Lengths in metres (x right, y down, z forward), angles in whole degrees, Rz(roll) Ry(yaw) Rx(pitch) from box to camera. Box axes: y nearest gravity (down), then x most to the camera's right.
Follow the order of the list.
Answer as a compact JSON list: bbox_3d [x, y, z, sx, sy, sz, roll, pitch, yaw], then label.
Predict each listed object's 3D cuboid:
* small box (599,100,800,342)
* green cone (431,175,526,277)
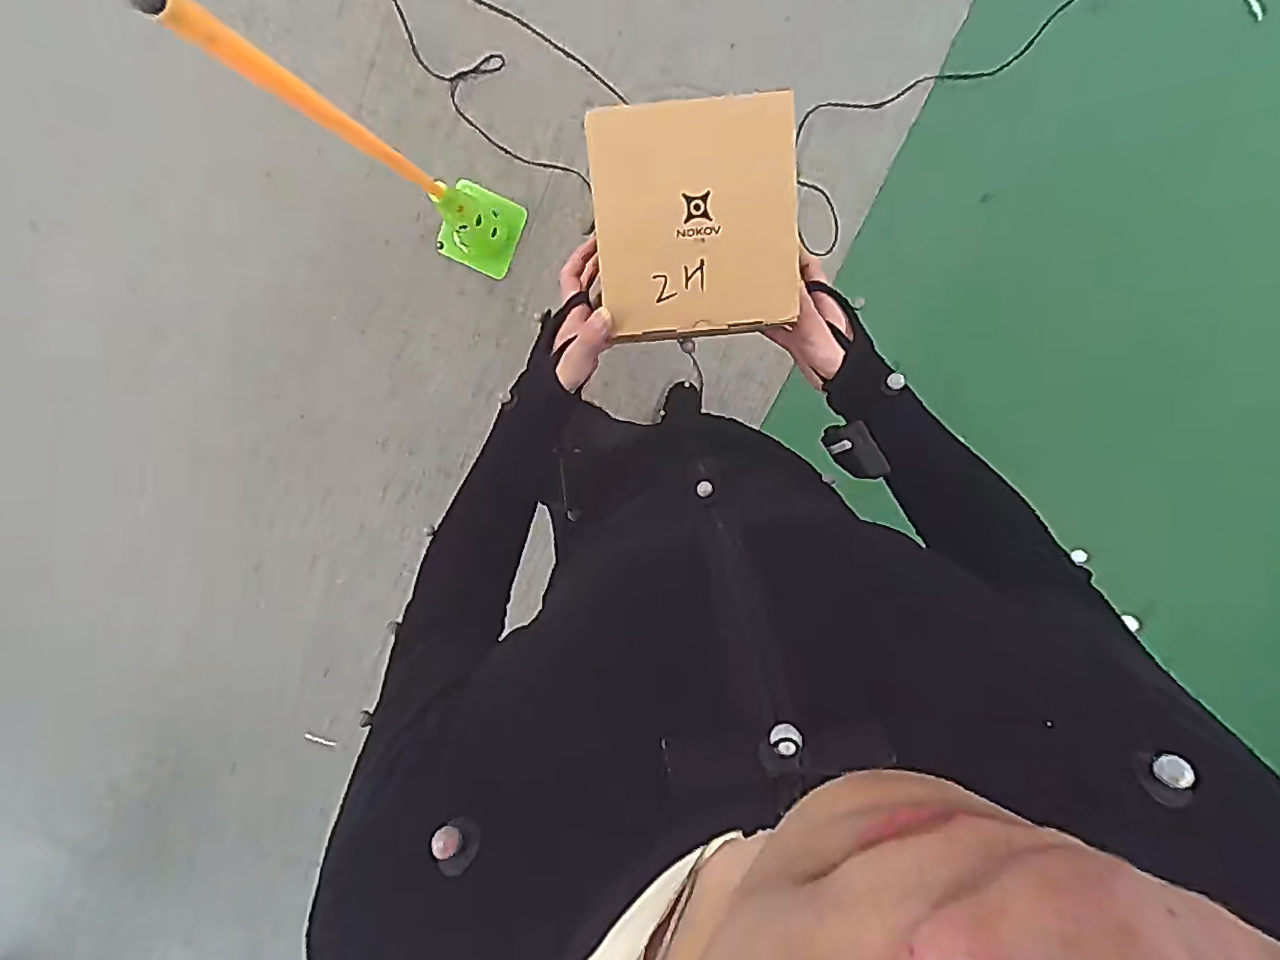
[{"bbox_3d":[0.048,-0.231,0.525,0.168,0.176,0.179,-4,103,0],"label":"small box"},{"bbox_3d":[-0.420,-0.640,1.290,0.200,0.368,0.202,23,100,-8],"label":"green cone"}]
